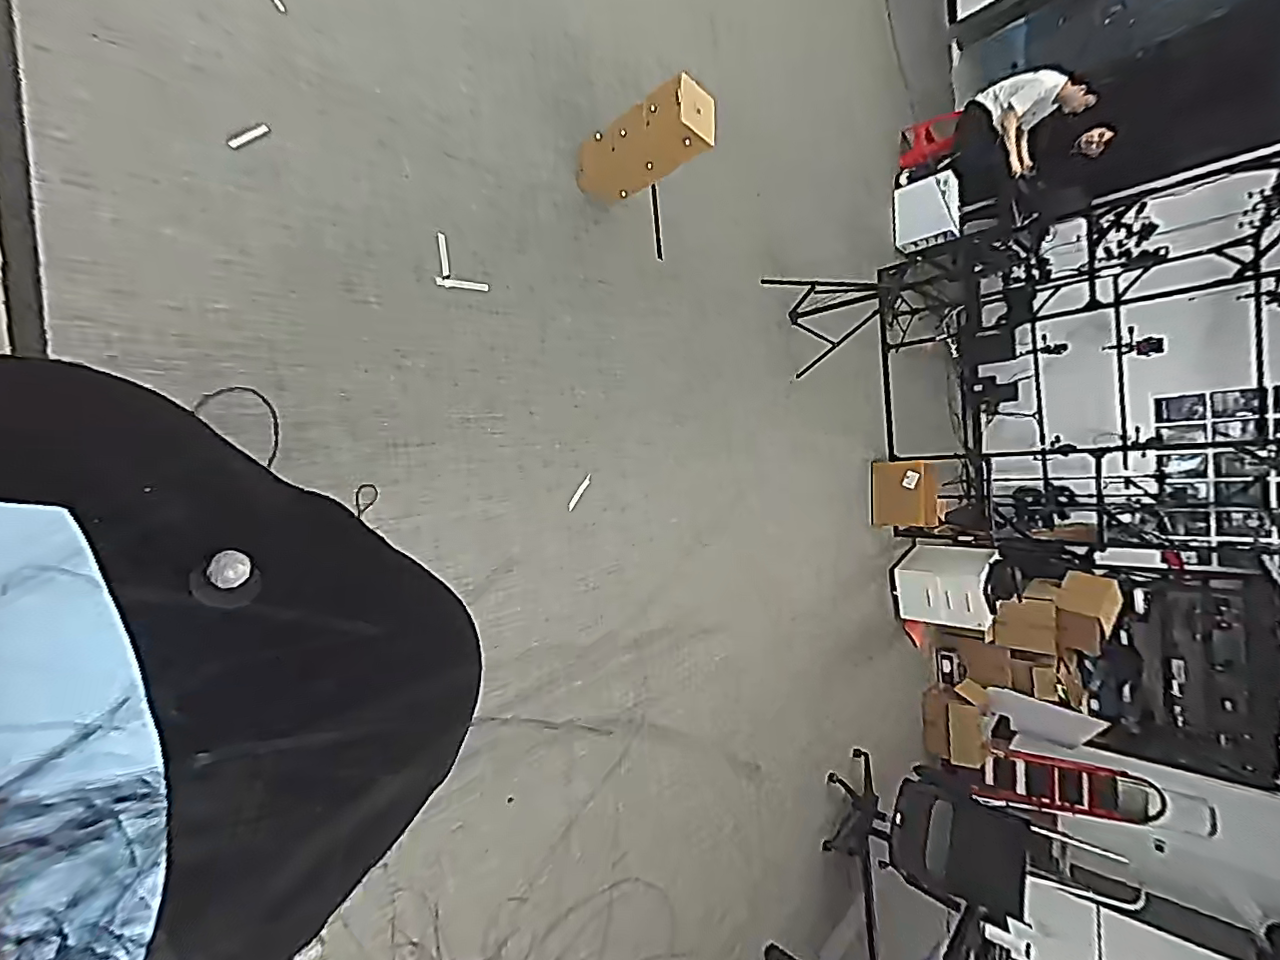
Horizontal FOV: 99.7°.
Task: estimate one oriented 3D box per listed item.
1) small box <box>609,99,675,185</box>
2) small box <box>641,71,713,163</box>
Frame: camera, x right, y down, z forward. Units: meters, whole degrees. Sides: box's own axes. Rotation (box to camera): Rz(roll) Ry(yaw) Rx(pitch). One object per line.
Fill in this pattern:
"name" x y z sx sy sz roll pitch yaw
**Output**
"small box" 0.005 -1.175 1.899 0.179 0.176 0.168 3 86 -46
"small box" 0.123 -1.185 1.787 0.179 0.176 0.168 2 86 -45
